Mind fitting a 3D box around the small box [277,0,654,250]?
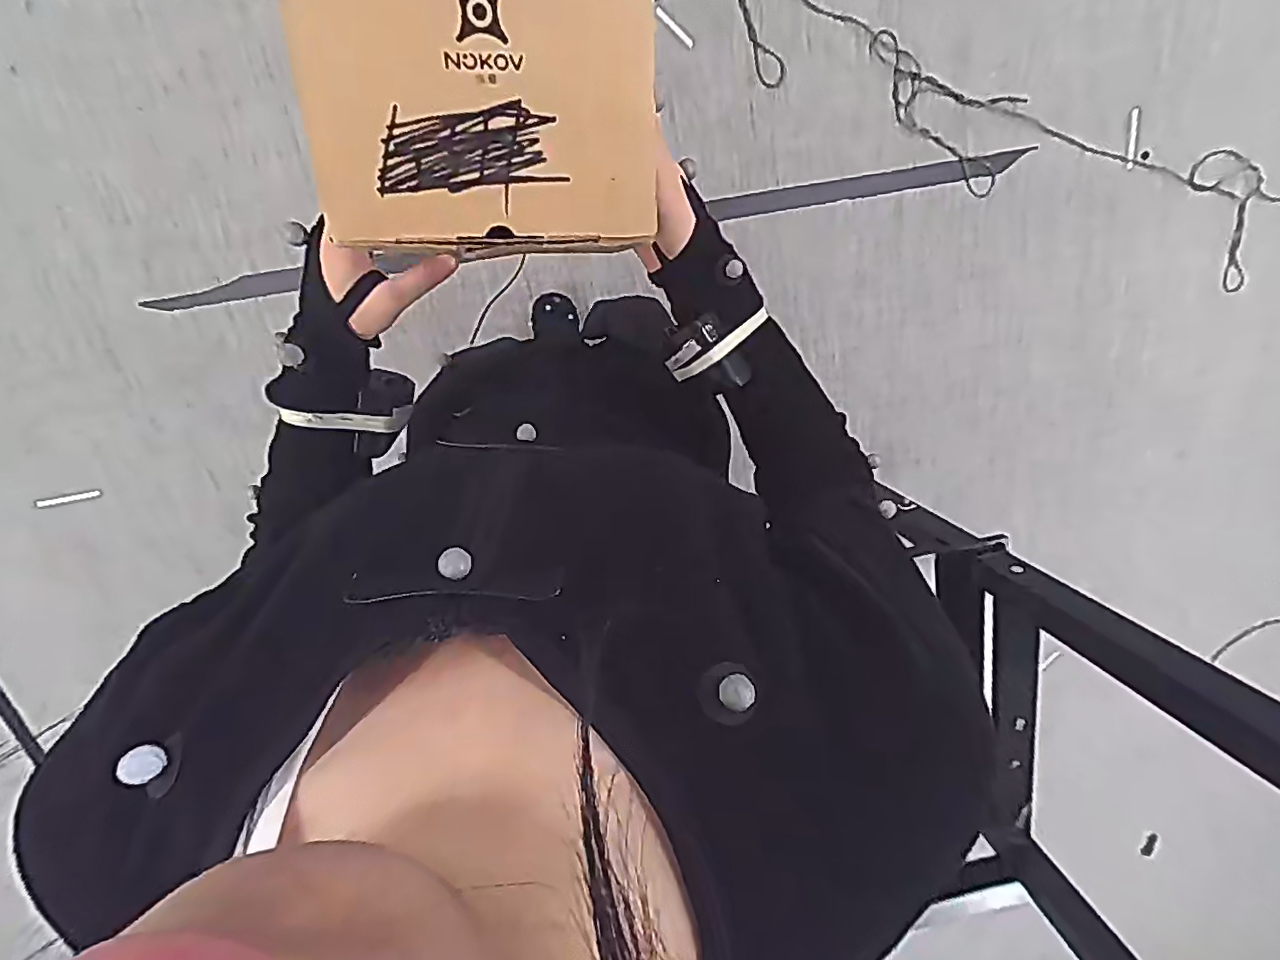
[{"bbox_3d":[-0.086,-0.231,0.317,0.168,0.176,0.179,-5,111,-9],"label":"small box"}]
